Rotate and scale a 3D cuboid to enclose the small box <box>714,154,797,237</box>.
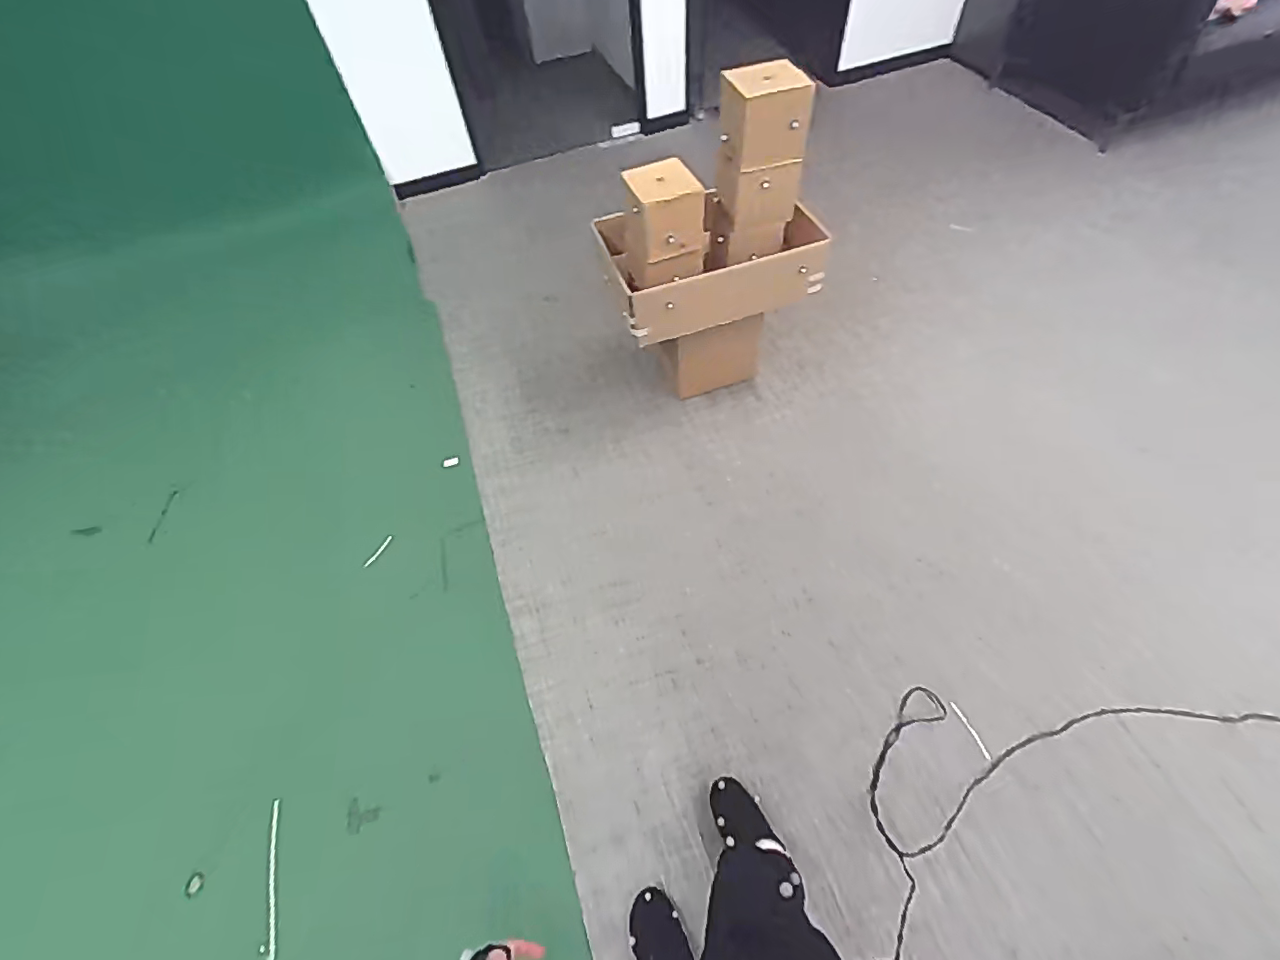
[{"bbox_3d":[0.315,-0.806,1.511,0.179,0.176,0.168,-15,56,-6],"label":"small box"}]

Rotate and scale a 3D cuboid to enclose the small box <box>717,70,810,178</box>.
[{"bbox_3d":[0.306,-0.906,1.382,0.179,0.176,0.168,-16,56,-5],"label":"small box"}]
